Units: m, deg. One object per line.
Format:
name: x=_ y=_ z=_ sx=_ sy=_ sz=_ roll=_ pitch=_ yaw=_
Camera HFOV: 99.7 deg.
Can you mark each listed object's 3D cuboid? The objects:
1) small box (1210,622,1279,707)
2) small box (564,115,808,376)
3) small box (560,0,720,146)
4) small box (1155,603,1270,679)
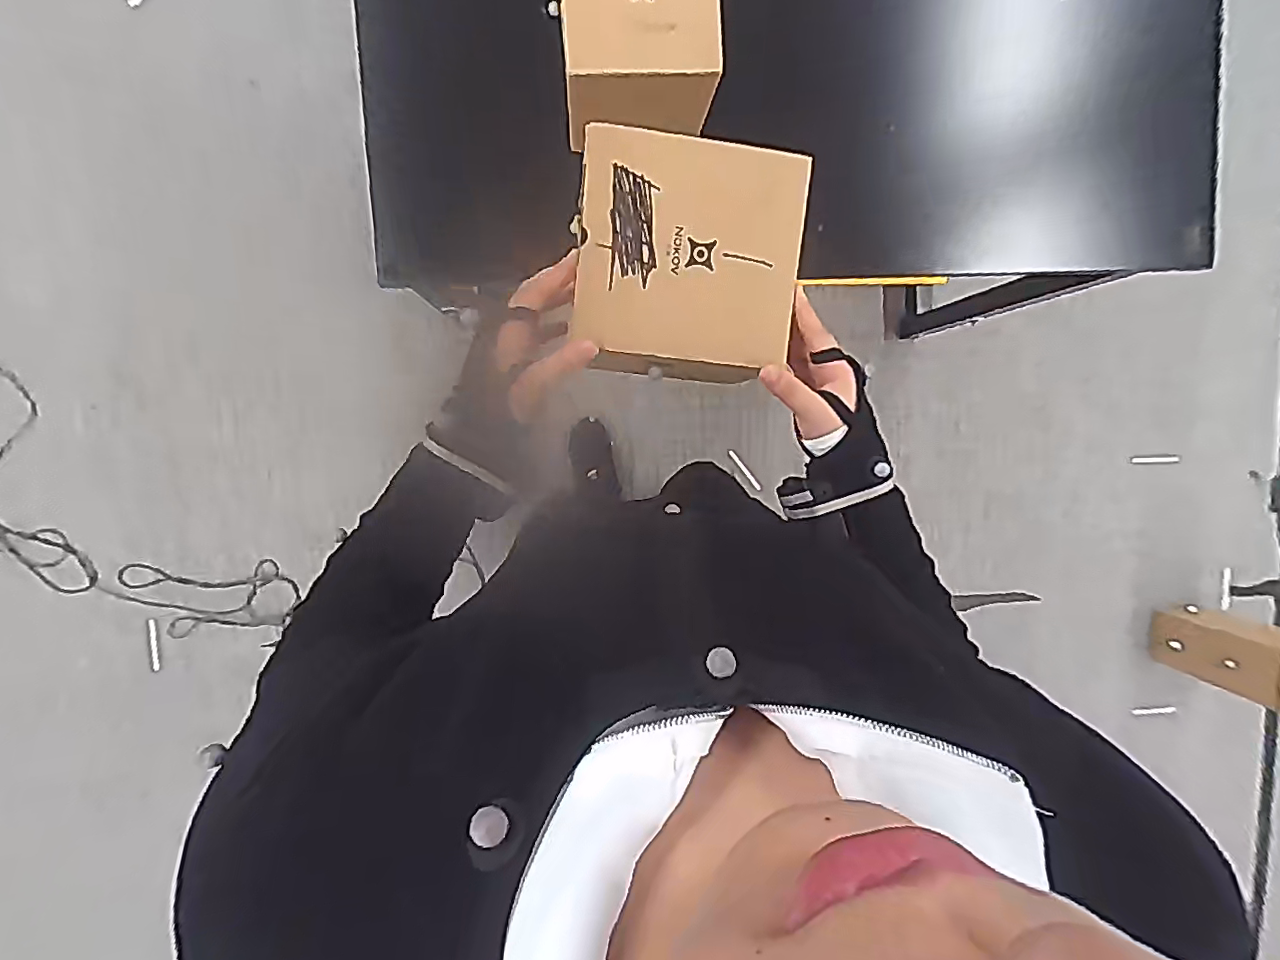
small box: x=1.701 y=0.487 z=1.445 sx=0.179 sy=0.176 sz=0.168 roll=-1 pitch=95 yaw=-4
small box: x=0.029 y=-0.191 z=0.496 sx=0.179 sy=0.176 sz=0.168 roll=6 pitch=96 yaw=-6
small box: x=-0.008 y=-0.518 z=0.635 sx=0.168 sy=0.176 sz=0.179 roll=-5 pitch=96 yaw=-4
small box: x=1.694 y=0.474 z=1.611 sx=0.179 sy=0.176 sz=0.168 roll=-3 pitch=96 yaw=-4
